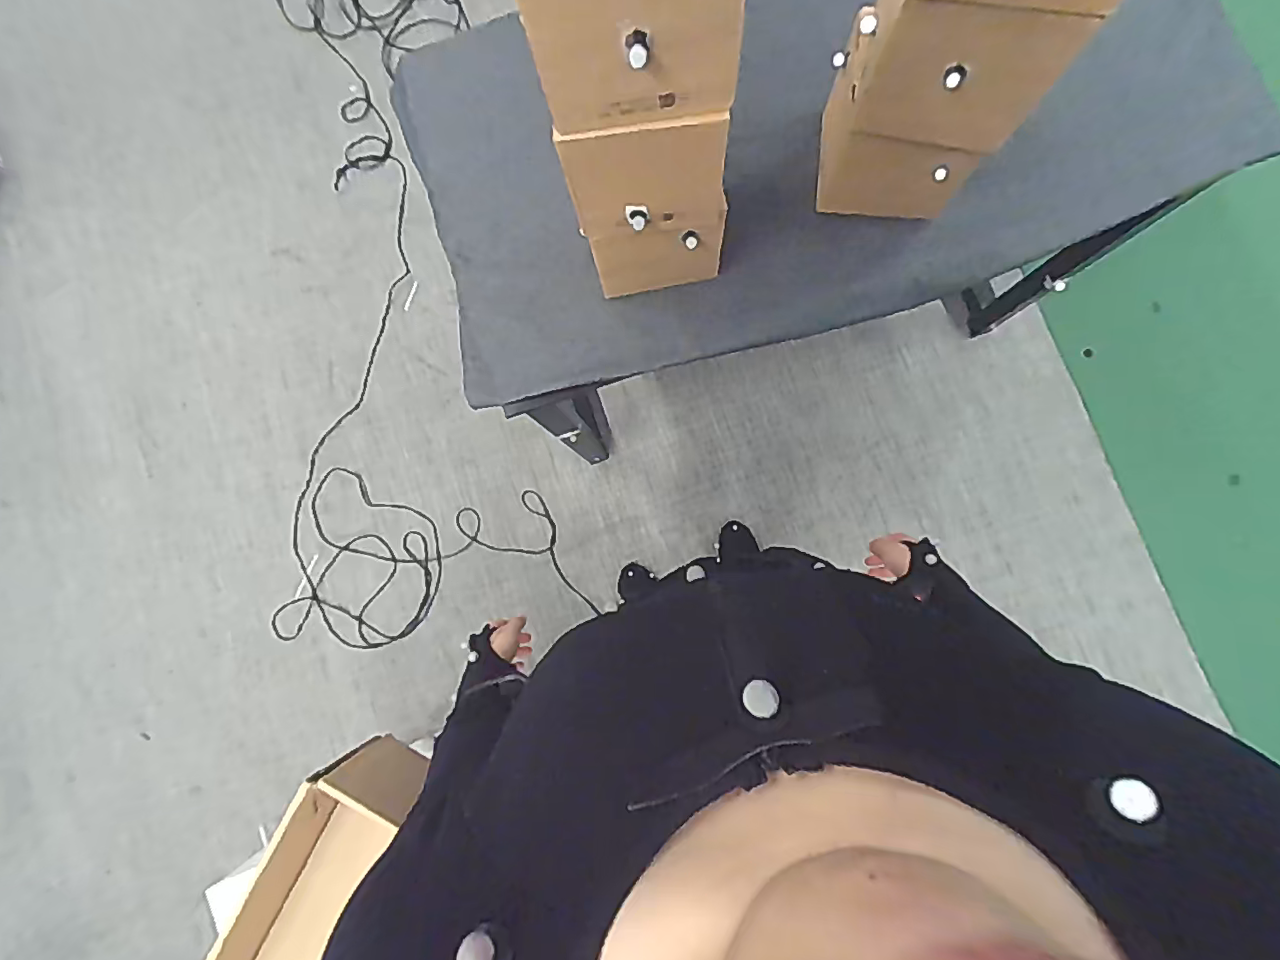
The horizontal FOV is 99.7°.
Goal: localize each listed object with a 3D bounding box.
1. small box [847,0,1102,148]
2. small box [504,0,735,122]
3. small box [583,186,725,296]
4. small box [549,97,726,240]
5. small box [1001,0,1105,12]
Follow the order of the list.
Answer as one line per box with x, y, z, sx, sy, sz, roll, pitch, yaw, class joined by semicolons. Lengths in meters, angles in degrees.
0.342;-0.487;0.567;0.179;0.176;0.168;13;84;6;small box
-0.016;-0.417;0.424;0.168;0.176;0.179;-6;83;4;small box
0.011;-0.378;0.746;0.179;0.176;0.168;-10;82;3;small box
-0.002;-0.392;0.585;0.168;0.176;0.179;-5;84;5;small box
0.327;-0.505;0.406;0.179;0.176;0.168;10;84;5;small box
